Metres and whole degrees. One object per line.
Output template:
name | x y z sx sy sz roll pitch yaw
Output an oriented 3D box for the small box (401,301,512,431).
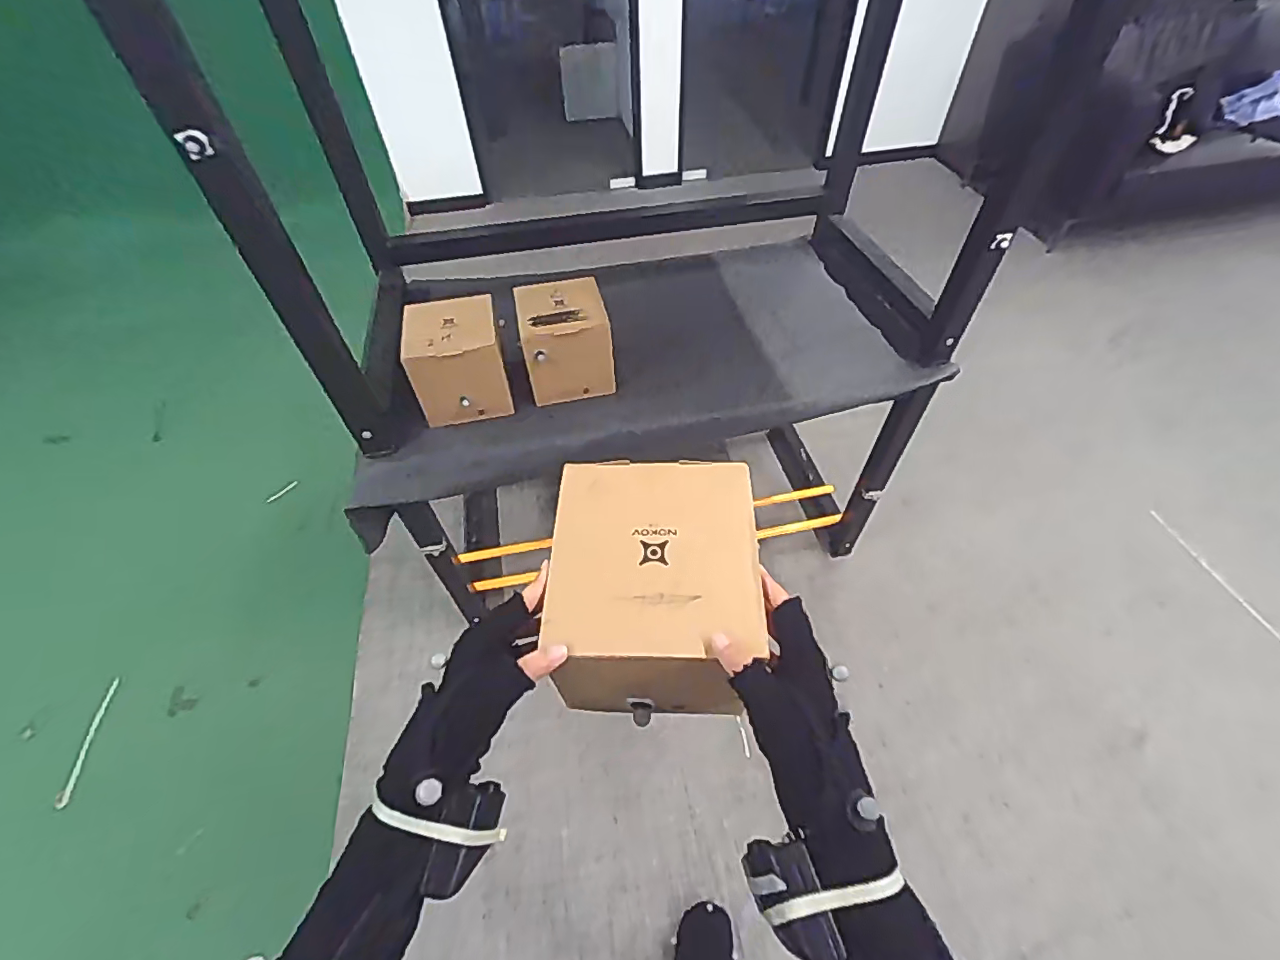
small box | -0.352 -0.222 1.057 0.168 0.176 0.179 -11 51 -8
